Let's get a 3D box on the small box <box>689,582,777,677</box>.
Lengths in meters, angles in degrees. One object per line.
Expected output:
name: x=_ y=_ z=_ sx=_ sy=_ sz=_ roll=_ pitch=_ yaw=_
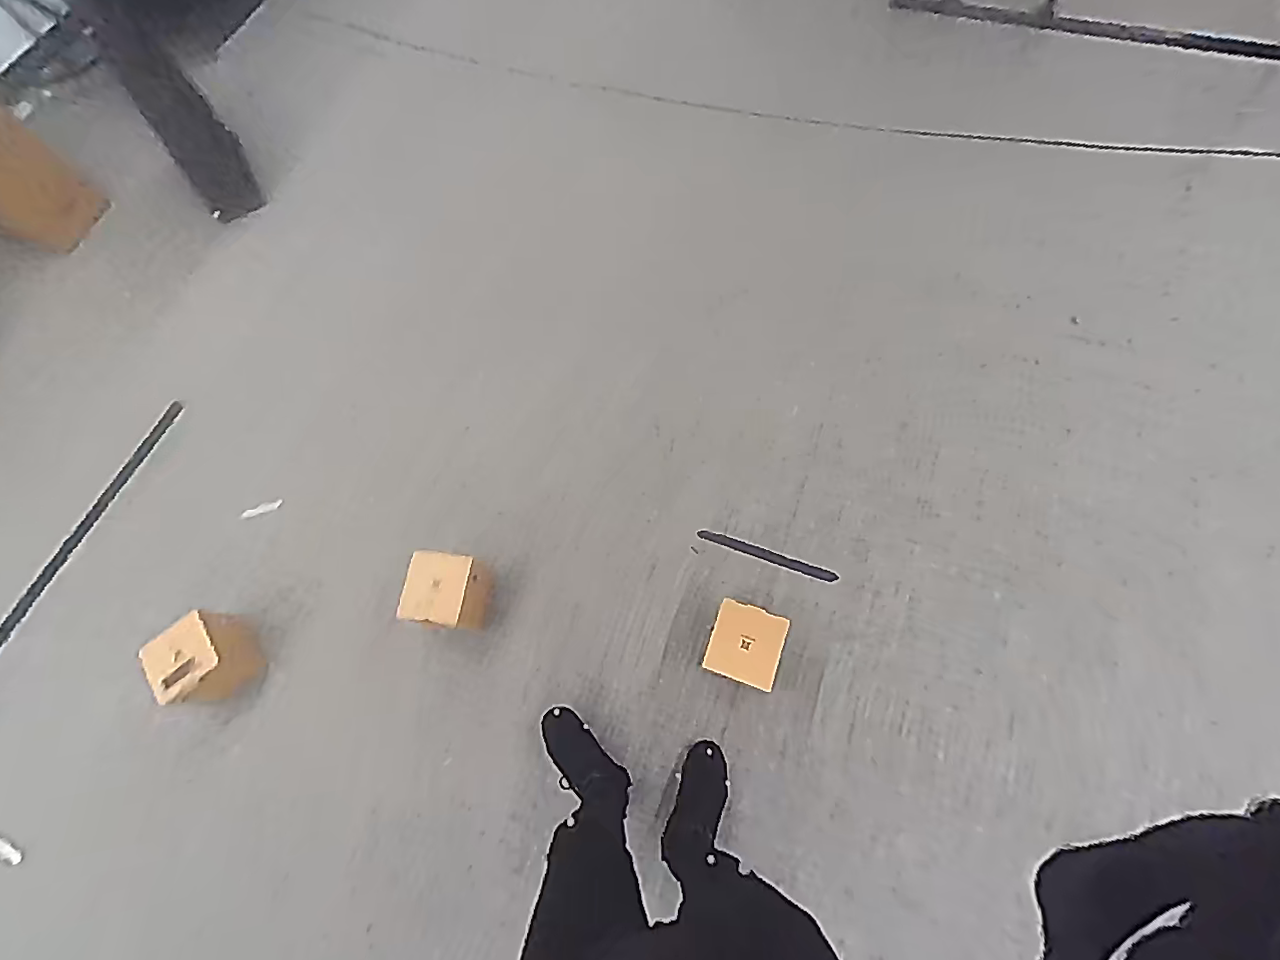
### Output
small box: x=0.230 y=0.379 z=1.357 sx=0.168 sy=0.176 sz=0.179 roll=19 pitch=72 yaw=11
